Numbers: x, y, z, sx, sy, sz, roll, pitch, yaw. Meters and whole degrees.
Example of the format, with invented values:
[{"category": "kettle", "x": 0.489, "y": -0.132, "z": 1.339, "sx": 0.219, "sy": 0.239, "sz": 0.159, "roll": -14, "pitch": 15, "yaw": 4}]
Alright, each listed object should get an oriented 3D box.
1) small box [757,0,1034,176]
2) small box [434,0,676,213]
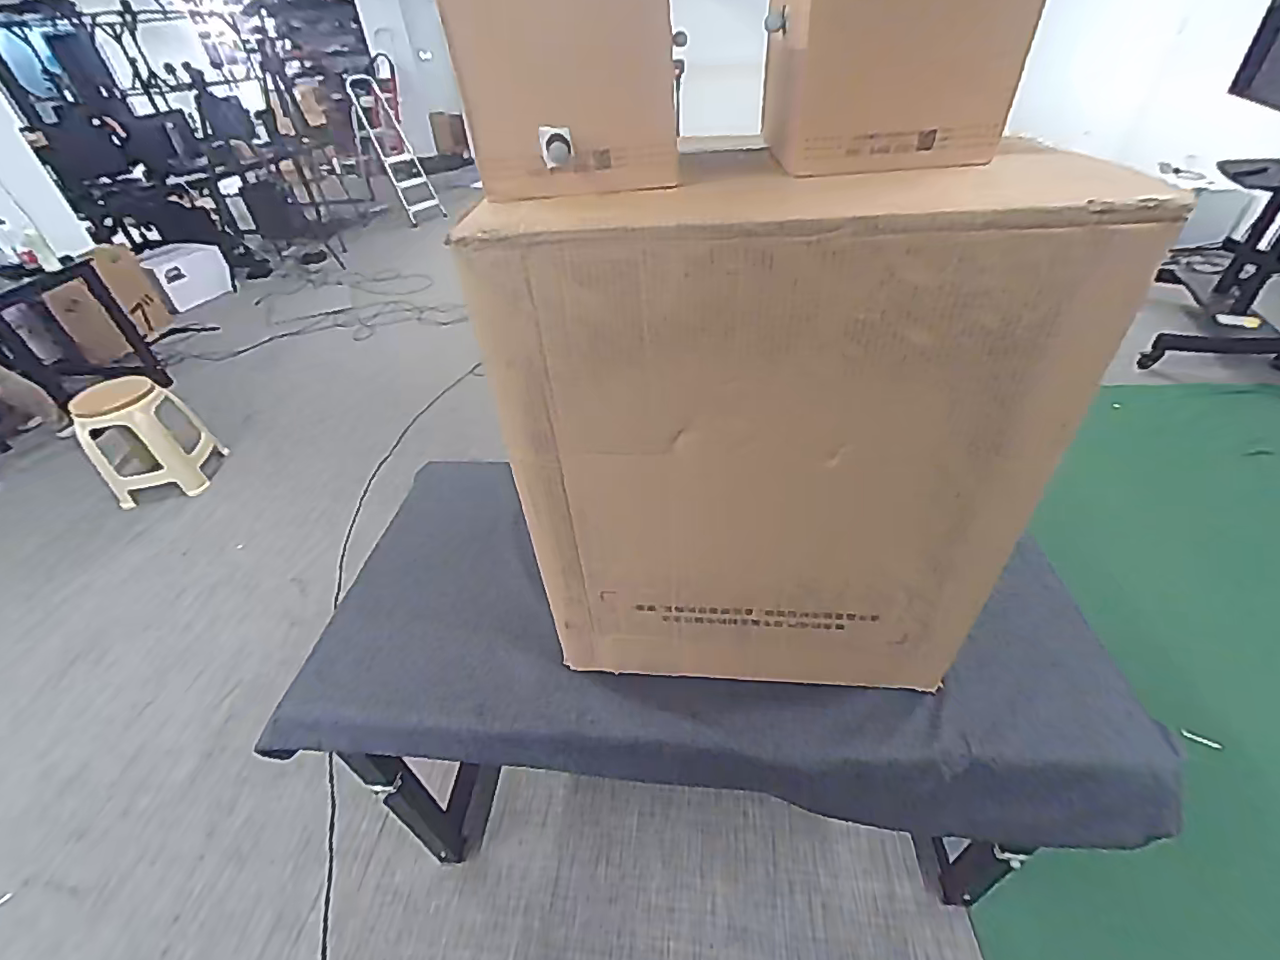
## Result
[{"category": "small box", "x": 0.195, "y": -0.369, "z": 0.454, "sx": 0.168, "sy": 0.176, "sz": 0.179, "roll": -3, "pitch": 41, "yaw": 4}, {"category": "small box", "x": -0.058, "y": -0.349, "z": 0.468, "sx": 0.168, "sy": 0.176, "sz": 0.179, "roll": -5, "pitch": 43, "yaw": 5}]
